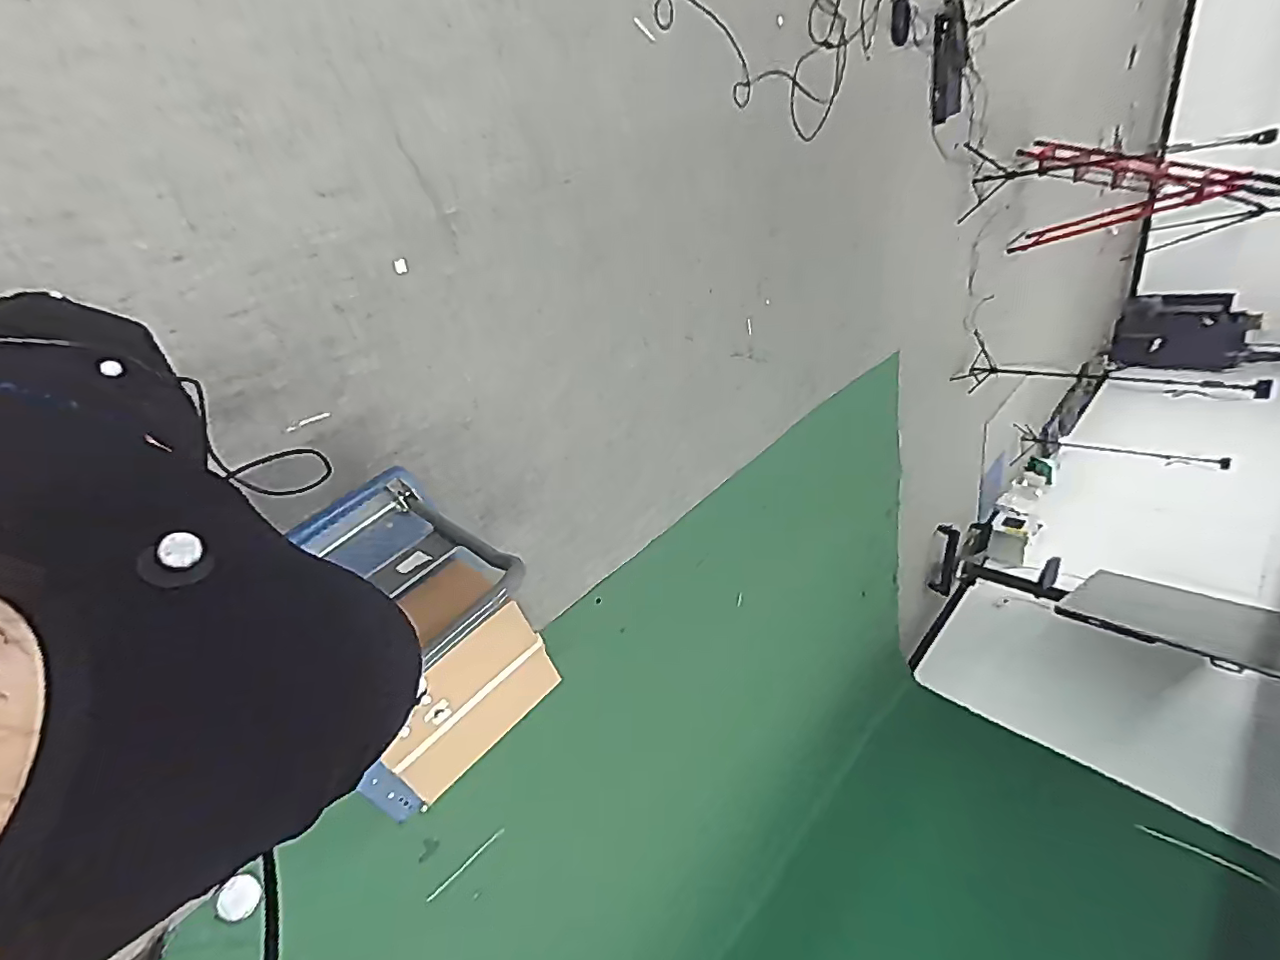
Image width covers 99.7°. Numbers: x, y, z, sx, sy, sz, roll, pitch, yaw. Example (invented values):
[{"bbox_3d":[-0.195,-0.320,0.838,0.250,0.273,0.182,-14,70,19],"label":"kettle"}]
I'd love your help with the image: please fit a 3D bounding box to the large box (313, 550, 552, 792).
[{"bbox_3d":[-0.504,0.447,1.348,0.408,0.320,0.320,-38,125,-27],"label":"large box"}]
